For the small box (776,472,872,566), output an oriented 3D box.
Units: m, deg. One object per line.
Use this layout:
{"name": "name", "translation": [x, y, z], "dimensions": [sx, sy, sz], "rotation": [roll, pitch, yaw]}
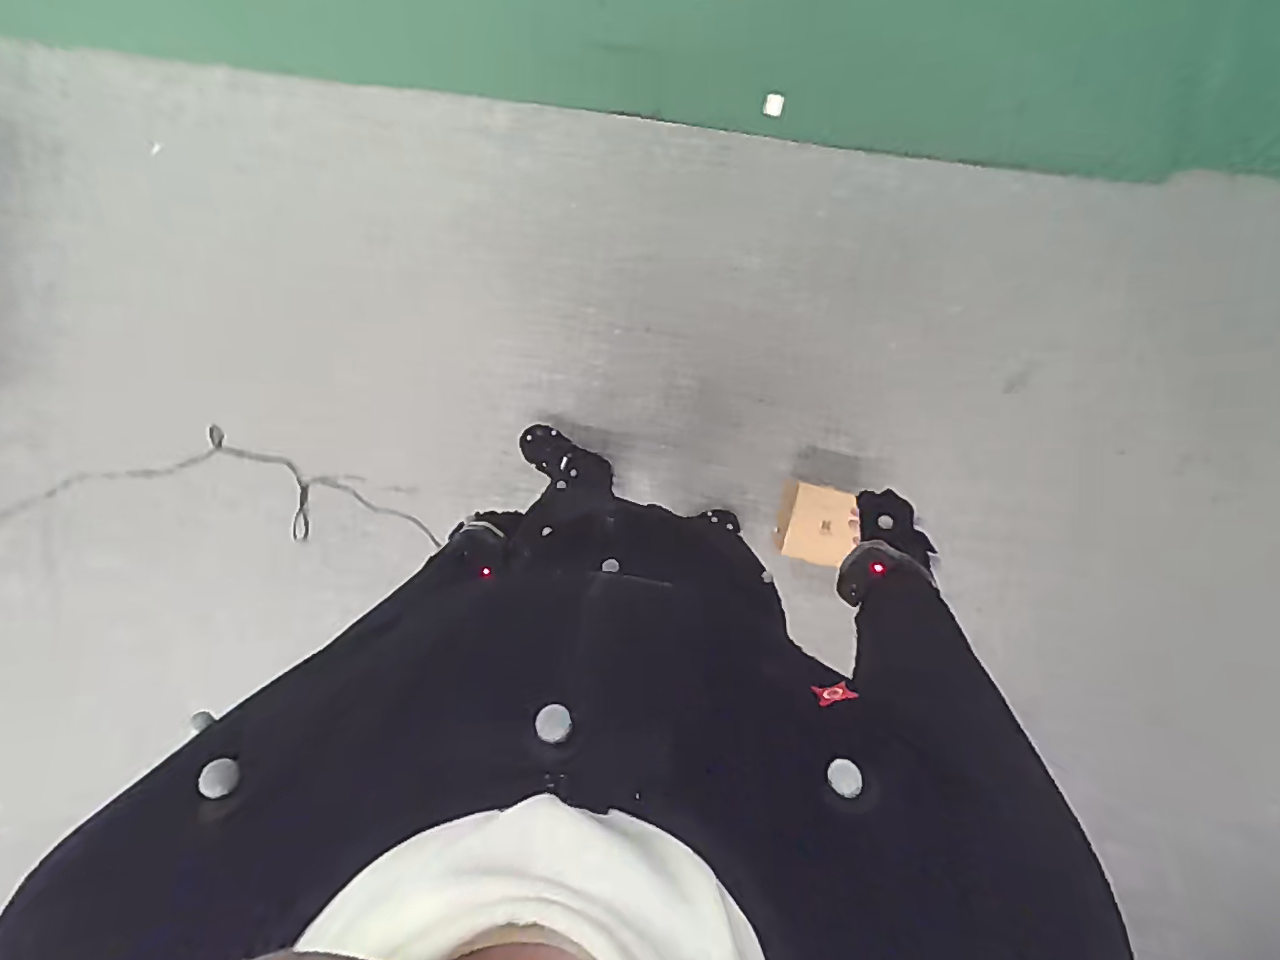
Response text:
{"name": "small box", "translation": [0.437, 0.088, 1.315], "dimensions": [0.168, 0.176, 0.179], "rotation": [13, 96, 4]}
